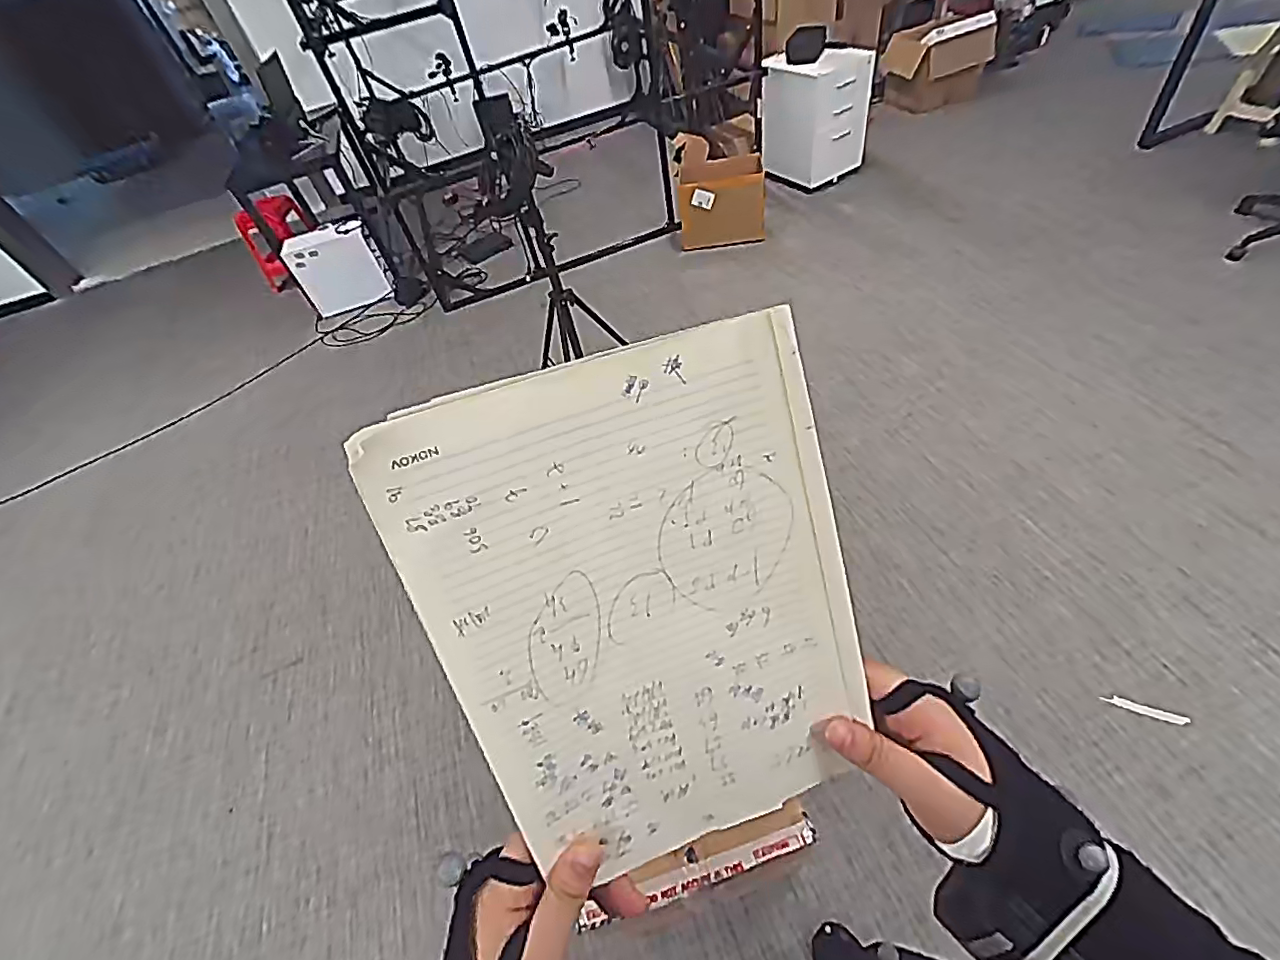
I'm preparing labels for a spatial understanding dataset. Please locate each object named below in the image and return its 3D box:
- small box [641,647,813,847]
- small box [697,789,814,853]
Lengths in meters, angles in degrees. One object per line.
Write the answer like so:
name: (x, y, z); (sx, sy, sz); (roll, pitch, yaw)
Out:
small box: (0.105, 0.353, 0.713); (0.168, 0.176, 0.179); (-15, 50, -4)
small box: (0.144, 0.451, 0.841); (0.179, 0.176, 0.168); (-19, 49, -6)
